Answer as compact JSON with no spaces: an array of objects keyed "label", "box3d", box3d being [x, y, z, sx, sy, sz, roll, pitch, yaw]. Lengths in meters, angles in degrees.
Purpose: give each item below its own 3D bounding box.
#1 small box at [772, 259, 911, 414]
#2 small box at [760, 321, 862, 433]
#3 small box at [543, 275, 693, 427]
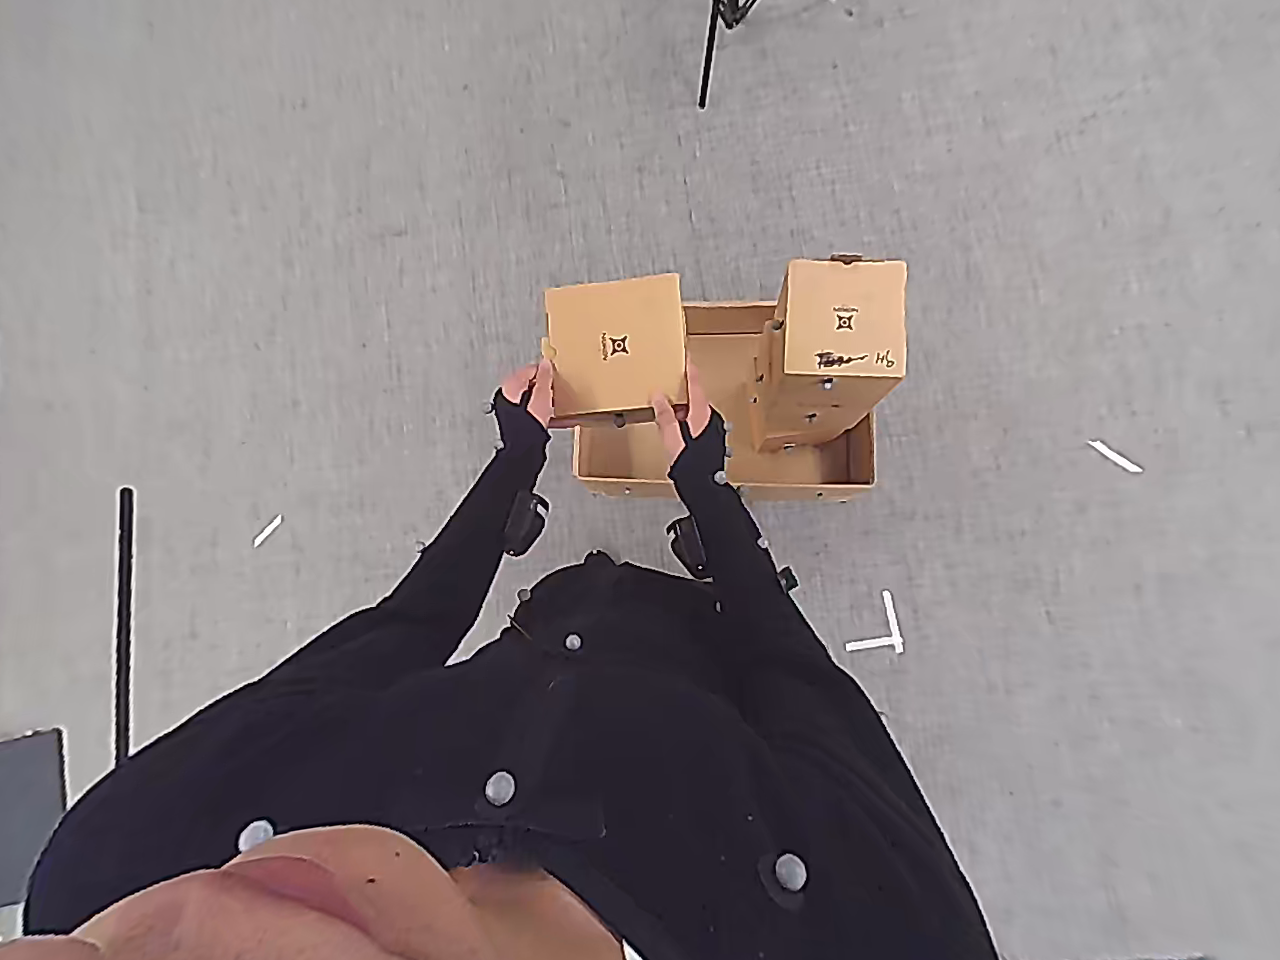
[{"label":"small box","box3d":[0.298,-0.213,0.828,0.168,0.176,0.179,4,81,8]},{"label":"small box","box3d":[0.315,-0.185,0.990,0.179,0.176,0.168,-2,82,7]},{"label":"small box","box3d":[-0.020,-0.166,0.750,0.179,0.176,0.168,-5,90,9]}]
